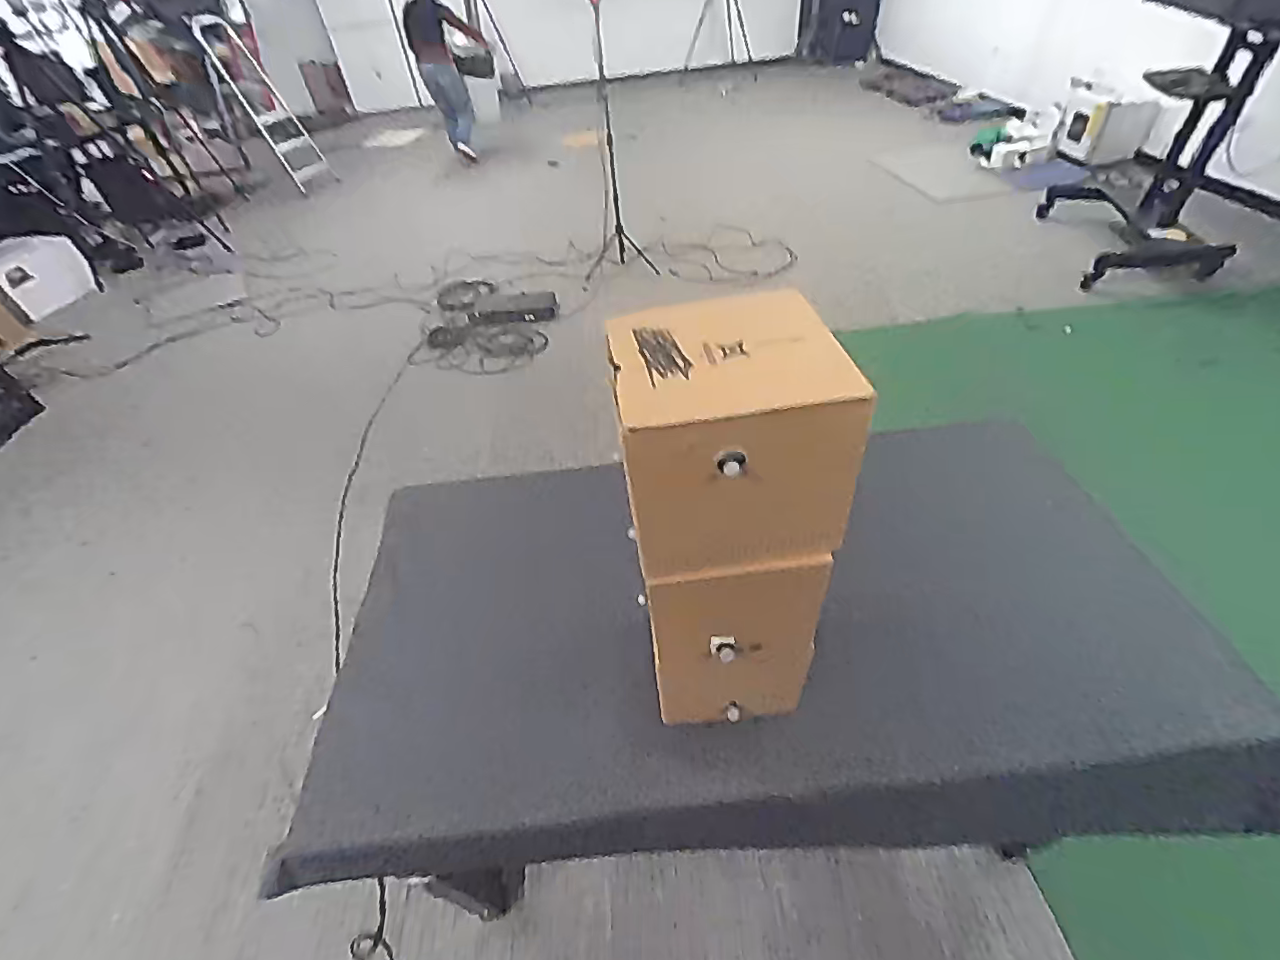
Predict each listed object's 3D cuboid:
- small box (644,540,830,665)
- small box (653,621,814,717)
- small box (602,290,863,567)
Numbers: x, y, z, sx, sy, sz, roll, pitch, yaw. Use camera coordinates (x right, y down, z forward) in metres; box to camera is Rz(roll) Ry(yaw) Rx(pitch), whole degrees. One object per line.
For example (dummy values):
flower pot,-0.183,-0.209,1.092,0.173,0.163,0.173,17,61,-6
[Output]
small box,0.089,0.076,0.588,0.168,0.176,0.179,-8,46,2
small box,0.107,0.190,0.703,0.179,0.176,0.168,-6,44,1
small box,0.069,-0.041,0.474,0.179,0.176,0.168,-8,44,1
